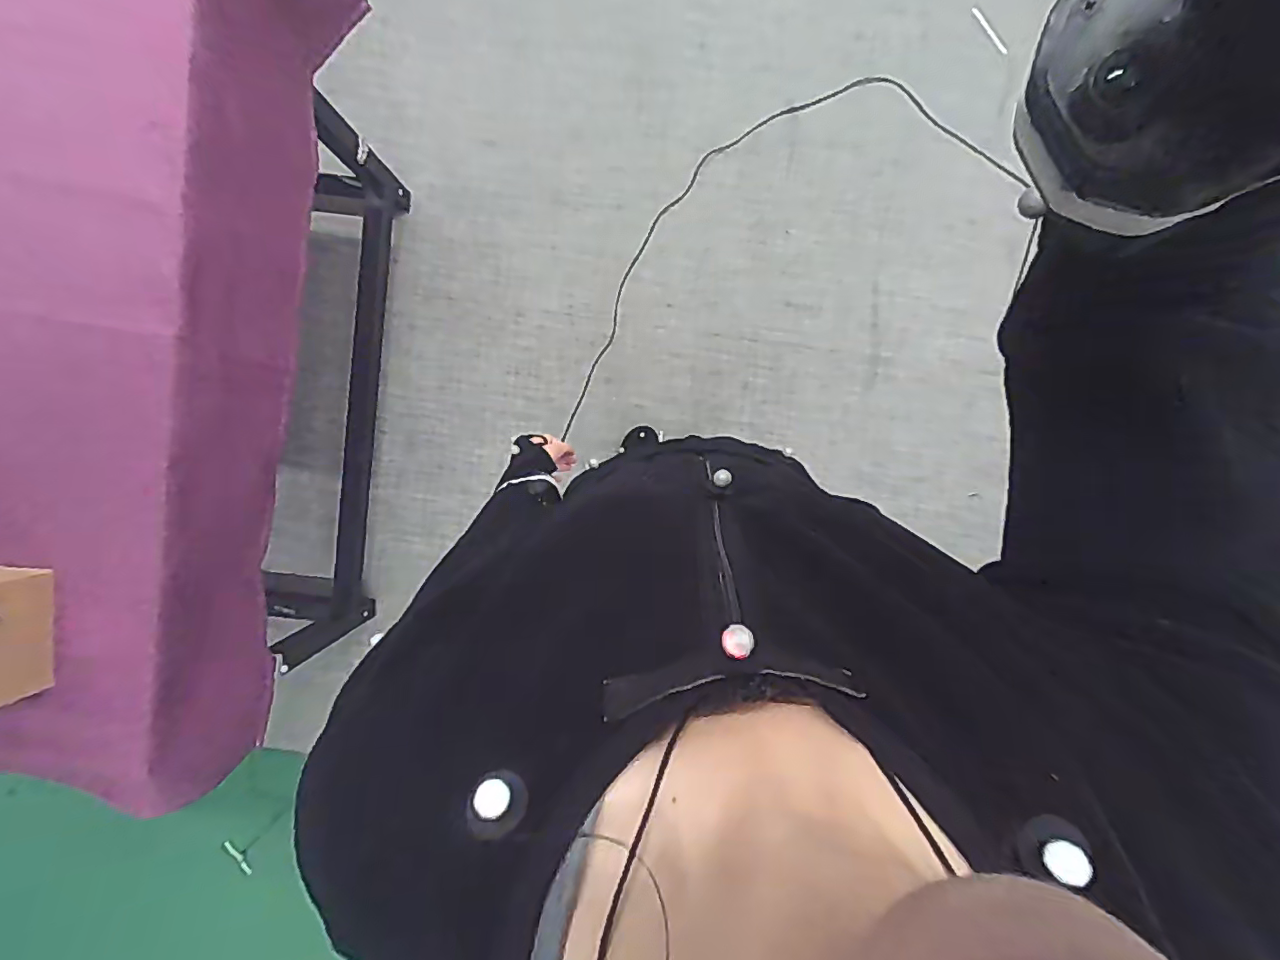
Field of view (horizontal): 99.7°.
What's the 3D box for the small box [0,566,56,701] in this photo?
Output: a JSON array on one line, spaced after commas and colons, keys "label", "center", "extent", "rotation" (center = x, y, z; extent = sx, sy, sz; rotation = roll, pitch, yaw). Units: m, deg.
[{"label": "small box", "center": [-0.940, 0.209, 0.717], "extent": [0.168, 0.176, 0.179], "rotation": [5, 94, 0]}]
